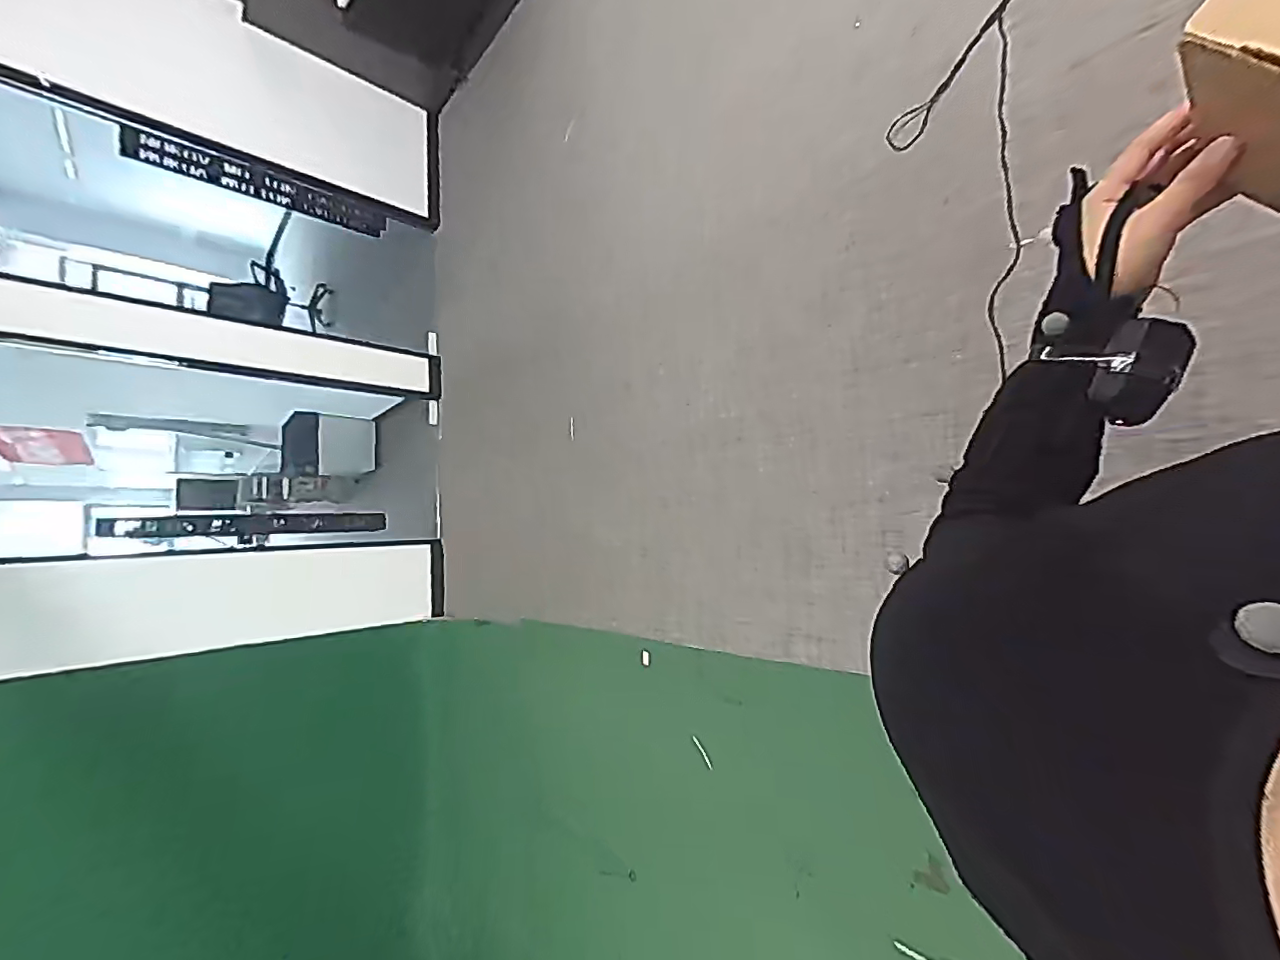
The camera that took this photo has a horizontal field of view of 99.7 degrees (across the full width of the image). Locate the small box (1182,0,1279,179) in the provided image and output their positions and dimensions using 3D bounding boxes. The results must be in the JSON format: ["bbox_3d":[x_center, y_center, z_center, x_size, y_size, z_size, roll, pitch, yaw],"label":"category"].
[{"bbox_3d":[0.412,-0.226,0.236,0.179,0.176,0.168,-53,49,32],"label":"small box"}]
